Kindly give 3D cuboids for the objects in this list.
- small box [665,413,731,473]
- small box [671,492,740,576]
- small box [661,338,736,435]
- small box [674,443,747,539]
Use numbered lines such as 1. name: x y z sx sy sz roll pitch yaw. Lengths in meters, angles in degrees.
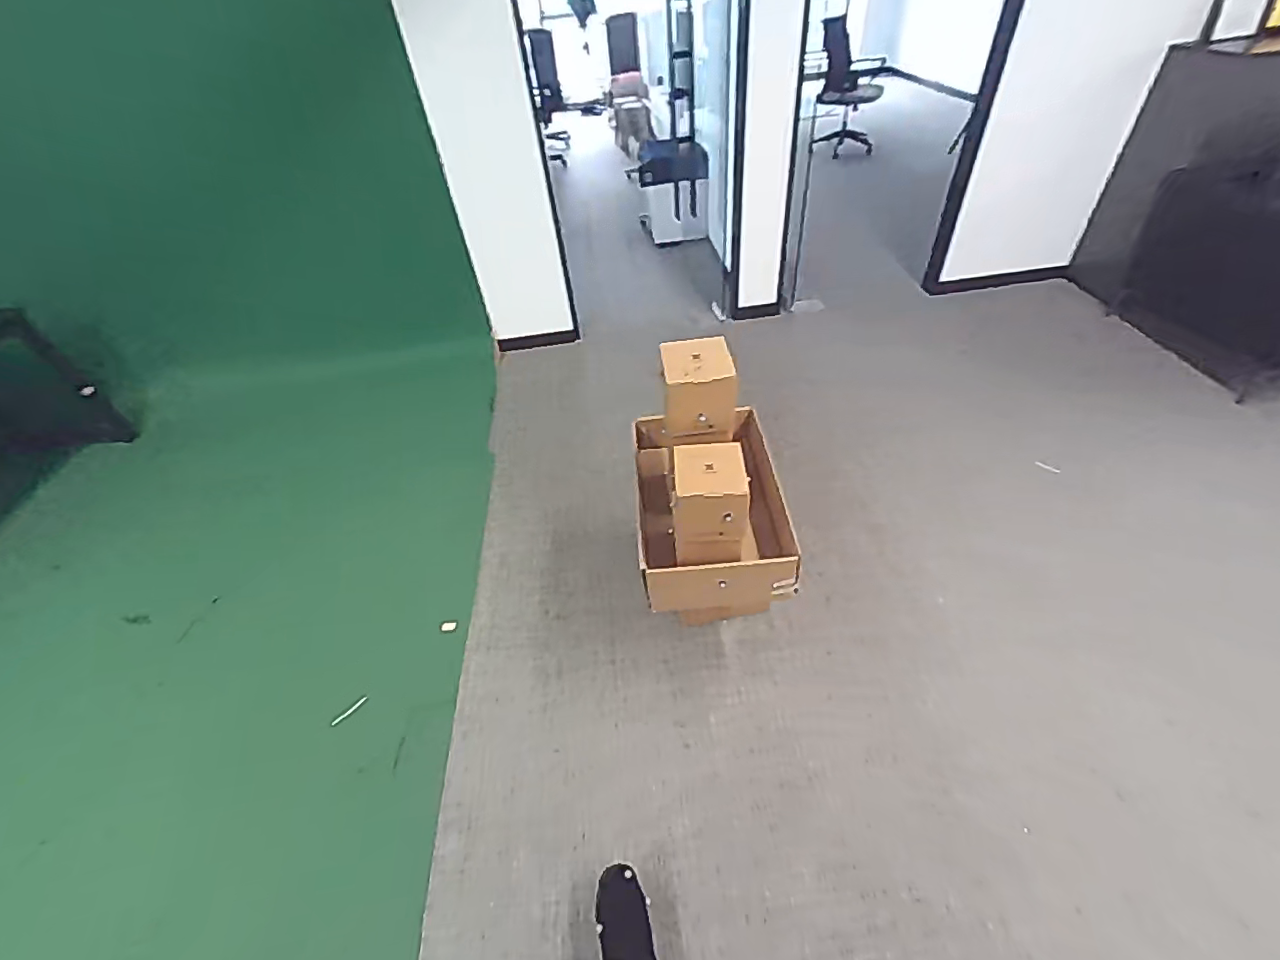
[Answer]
1. small box: 0.155 -0.133 1.500 0.168 0.176 0.179 -5 47 1
2. small box: 0.173 0.143 1.444 0.168 0.176 0.179 -5 43 2
3. small box: 0.142 -0.236 1.371 0.168 0.176 0.179 -6 47 1
4. small box: 0.169 0.032 1.324 0.168 0.176 0.179 -2 44 3
